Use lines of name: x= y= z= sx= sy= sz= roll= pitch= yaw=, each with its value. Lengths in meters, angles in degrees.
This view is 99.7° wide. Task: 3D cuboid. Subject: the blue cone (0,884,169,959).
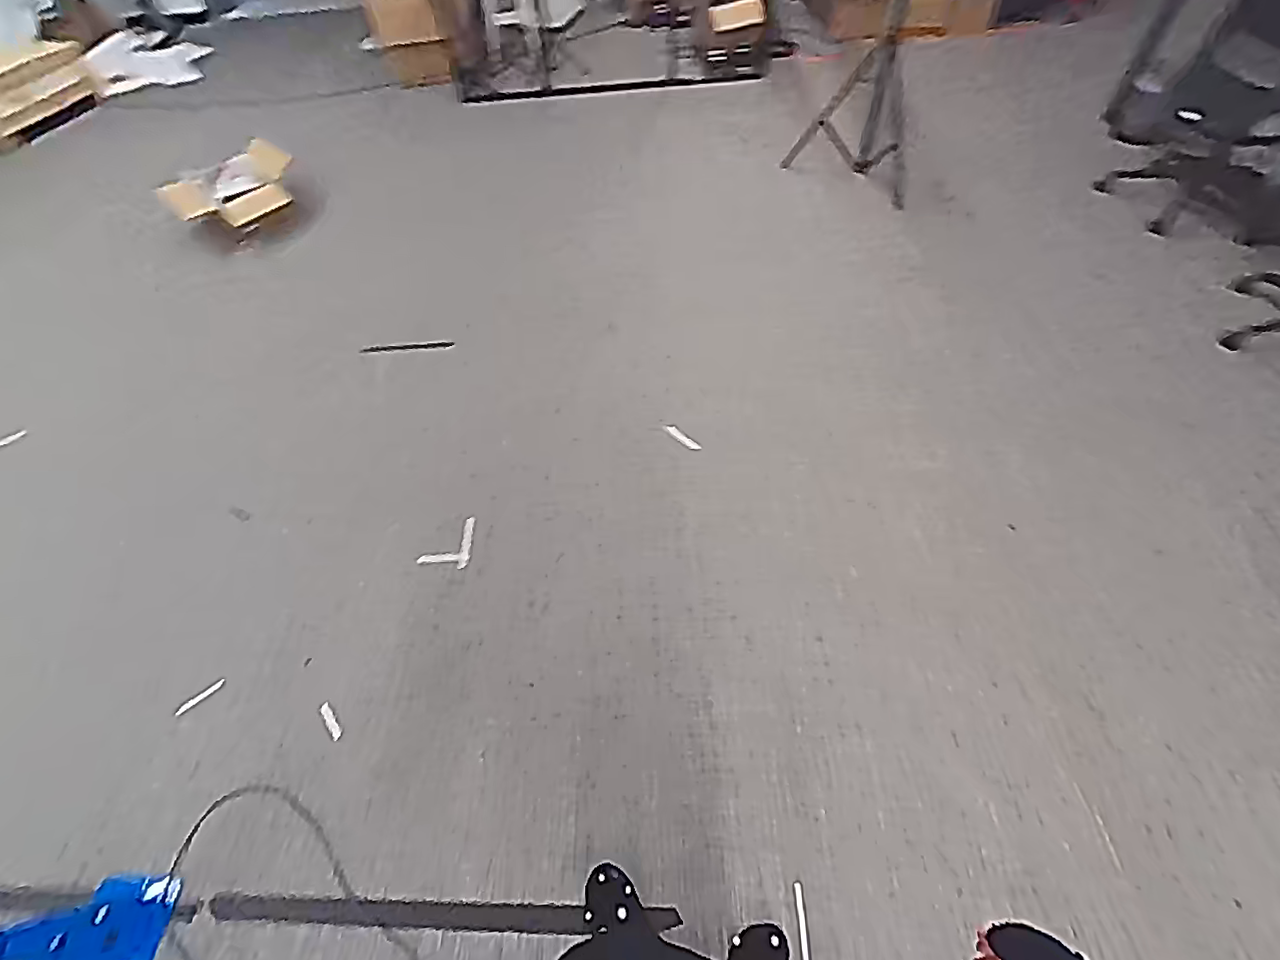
blue cone: x=-1.138 y=0.894 z=1.023 sx=0.192 sy=0.380 sz=0.193 roll=-2 pitch=55 yaw=3
